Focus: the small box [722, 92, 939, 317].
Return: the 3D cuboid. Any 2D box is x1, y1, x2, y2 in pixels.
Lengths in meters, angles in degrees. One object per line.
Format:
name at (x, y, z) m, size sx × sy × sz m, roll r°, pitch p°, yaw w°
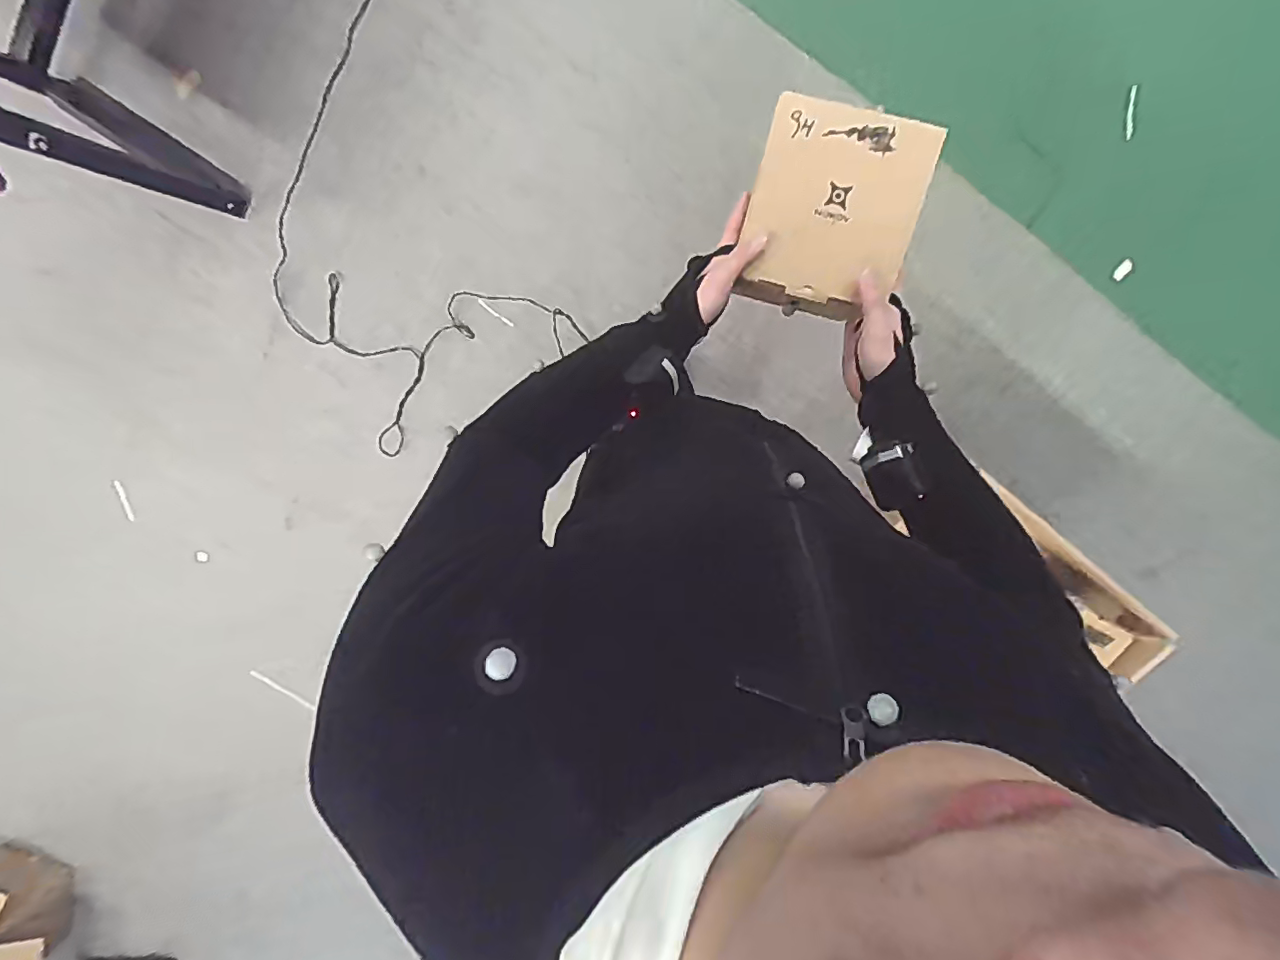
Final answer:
small box at (0.195, -0.290, 0.612) m, size 0.168 × 0.176 × 0.179 m, roll 15°, pitch 106°, yaw 3°
